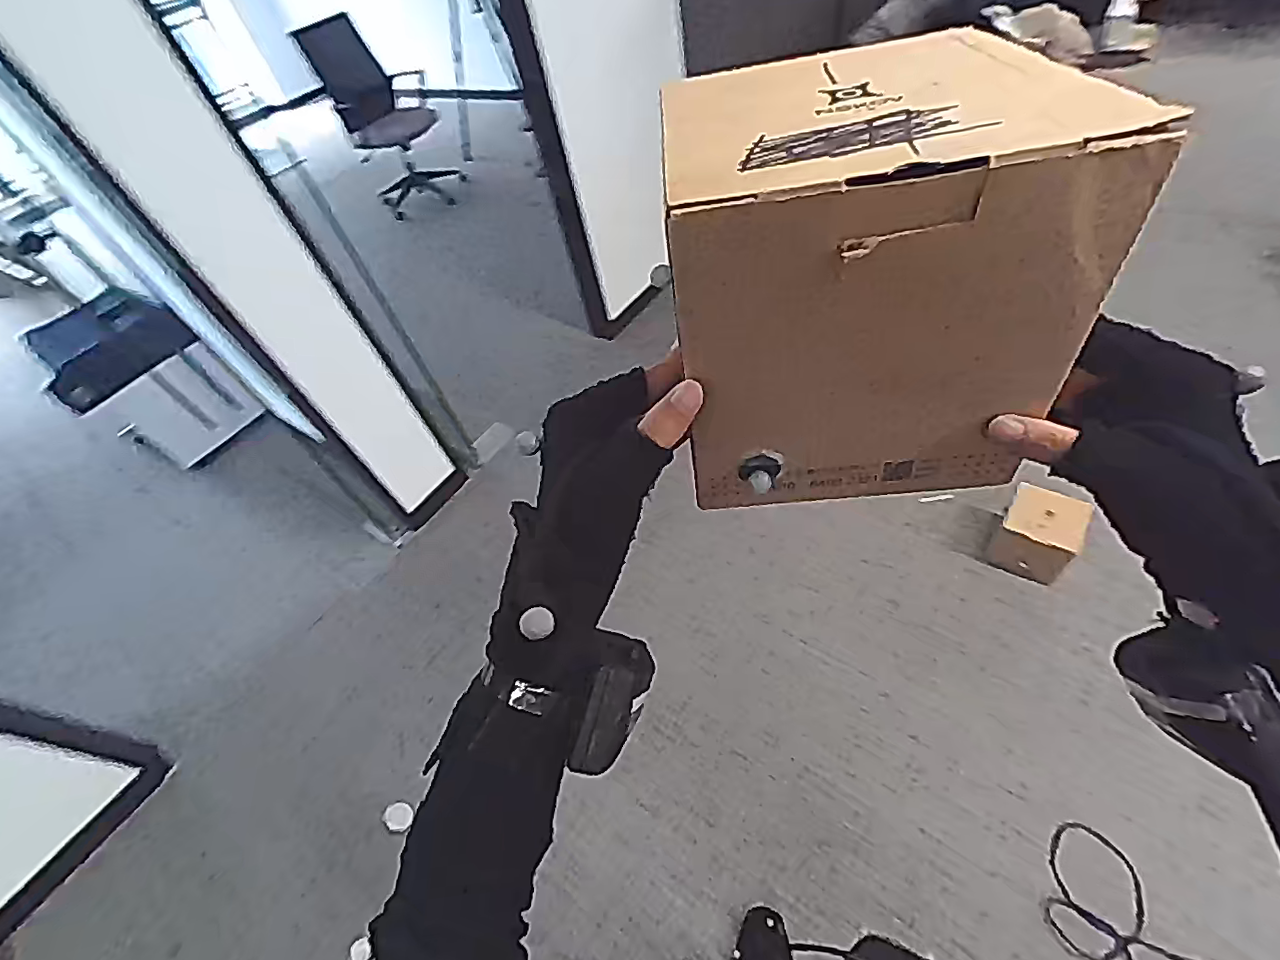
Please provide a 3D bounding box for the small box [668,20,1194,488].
[{"bbox_3d":[0.106,-0.108,0.289,0.168,0.176,0.179,-5,47,7],"label":"small box"}]

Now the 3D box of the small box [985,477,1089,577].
[{"bbox_3d":[1.062,0.128,1.459,0.168,0.176,0.179,24,61,29],"label":"small box"}]
